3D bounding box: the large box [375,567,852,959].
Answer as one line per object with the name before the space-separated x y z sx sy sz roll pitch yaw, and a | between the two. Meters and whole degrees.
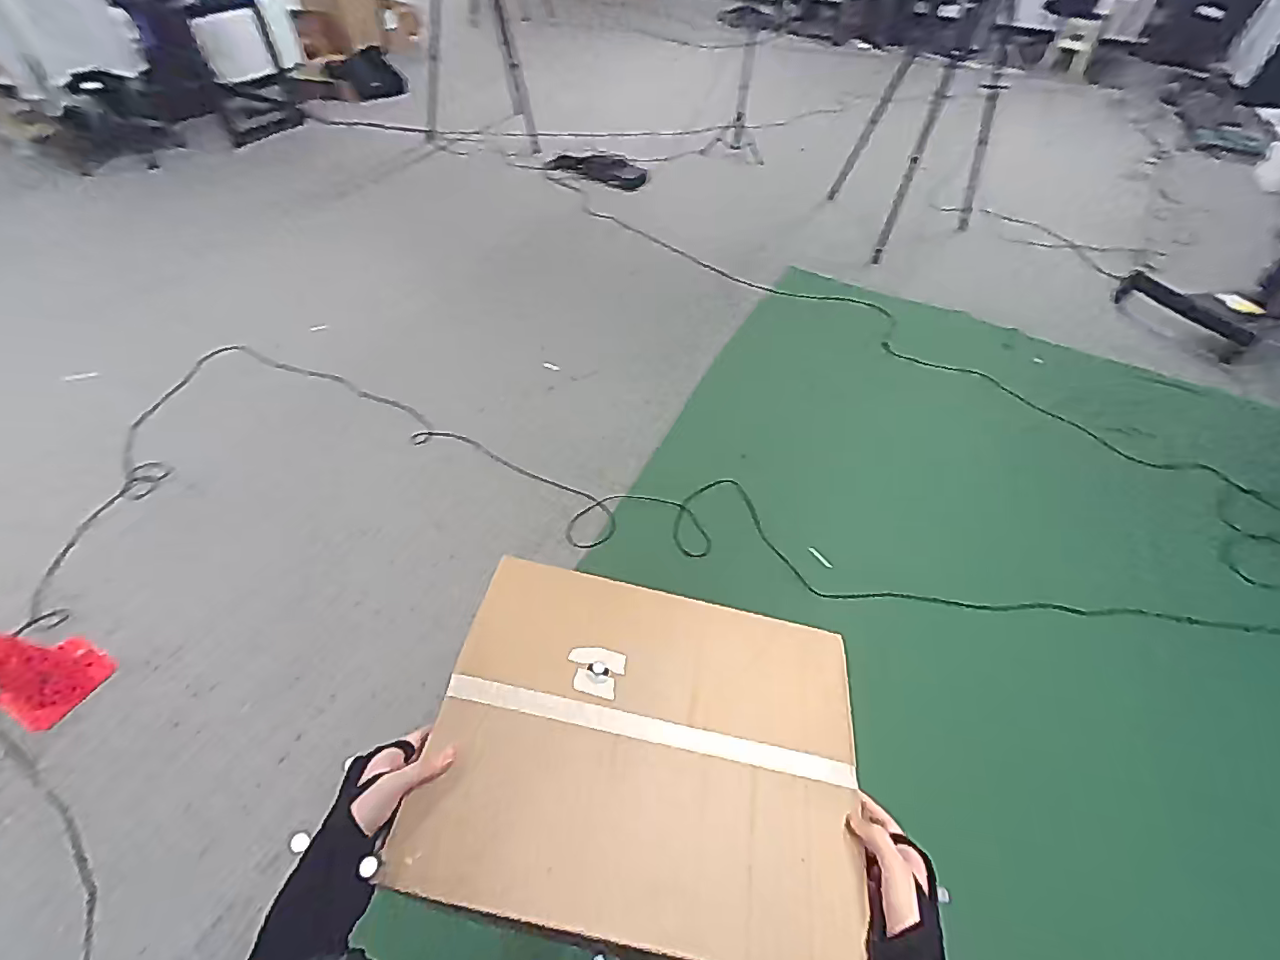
large box | -0.018 0.350 0.644 0.408 0.320 0.320 13 47 0
